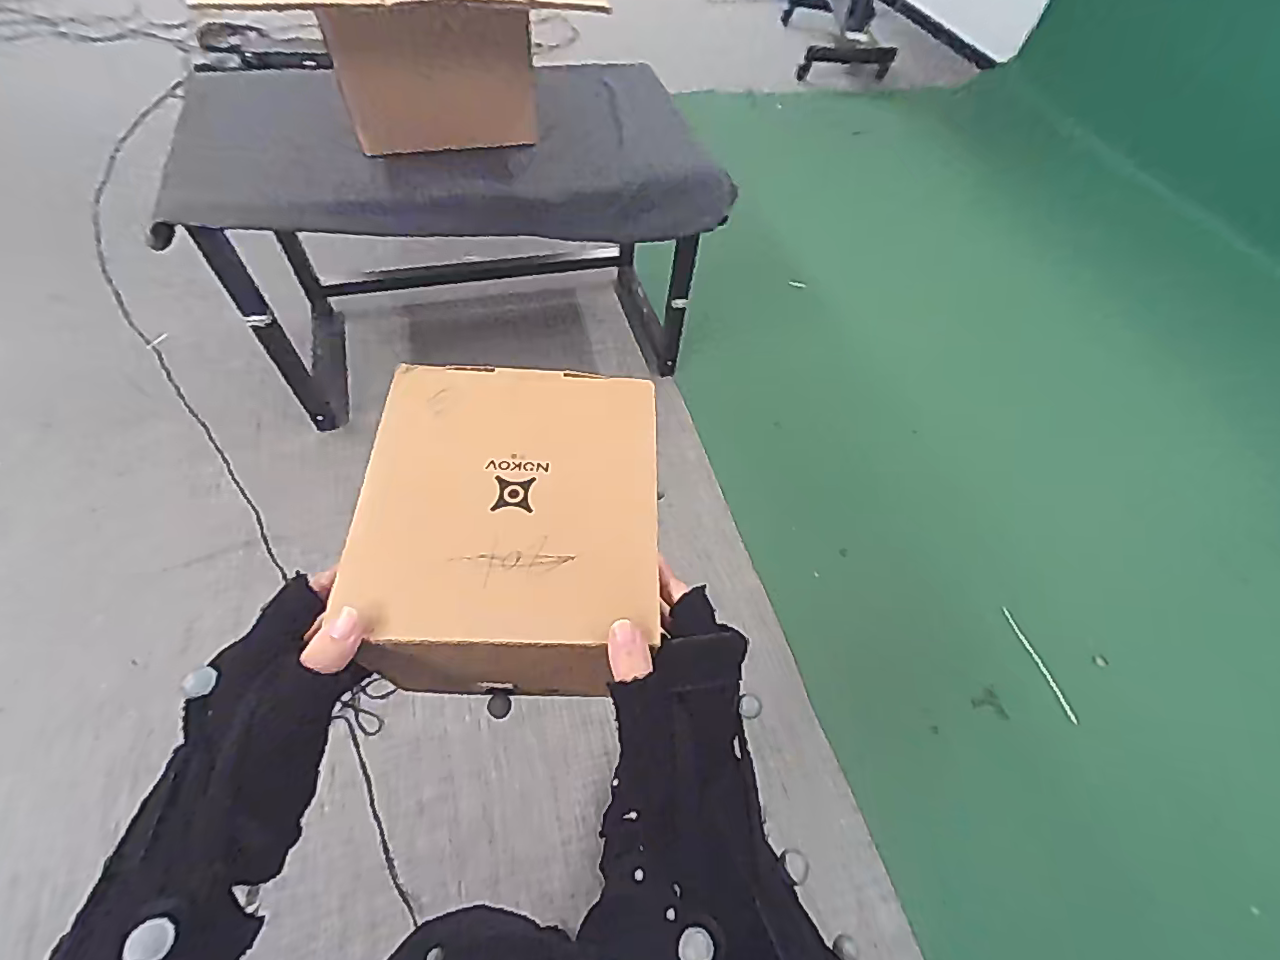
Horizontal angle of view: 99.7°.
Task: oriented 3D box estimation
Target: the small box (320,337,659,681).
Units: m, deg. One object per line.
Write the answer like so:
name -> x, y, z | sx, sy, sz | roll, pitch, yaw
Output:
small box -> -0.080, 0.029, 0.373 | 0.168, 0.176, 0.179 | 3, 60, -5
